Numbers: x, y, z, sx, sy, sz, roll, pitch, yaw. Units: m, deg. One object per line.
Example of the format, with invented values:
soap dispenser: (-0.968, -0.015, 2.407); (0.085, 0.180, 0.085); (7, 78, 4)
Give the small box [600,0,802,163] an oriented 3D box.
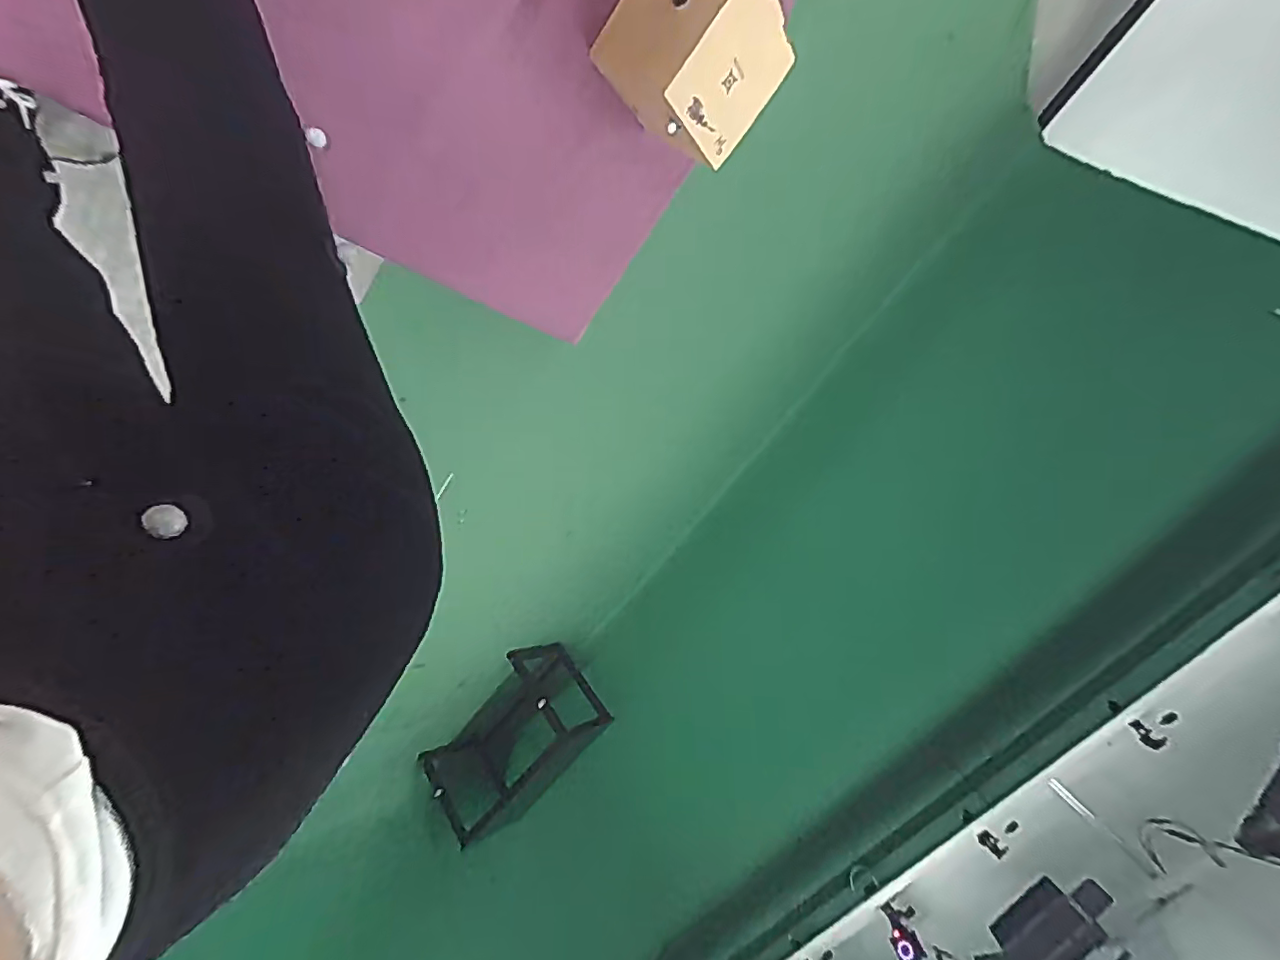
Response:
small box: (0.079, -0.583, 0.727); (0.179, 0.176, 0.168); (-51, 151, 16)
